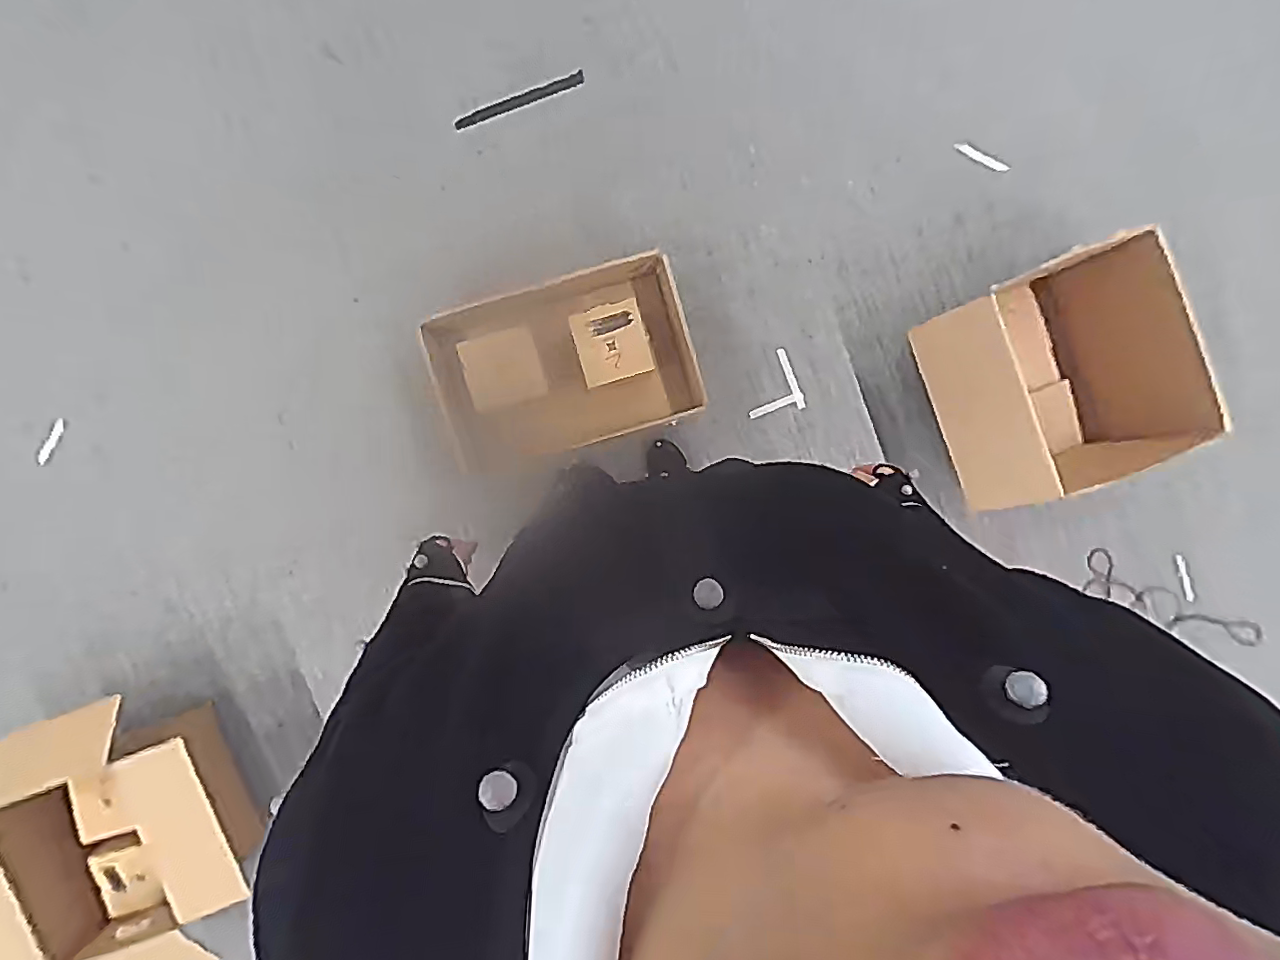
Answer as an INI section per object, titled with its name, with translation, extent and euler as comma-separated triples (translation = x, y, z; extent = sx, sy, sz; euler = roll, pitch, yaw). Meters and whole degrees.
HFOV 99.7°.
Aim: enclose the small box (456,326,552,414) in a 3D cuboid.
[small box]
translation = -0.328, -0.266, 1.341
extent = 0.179, 0.176, 0.168
euler = -16, 96, -3
